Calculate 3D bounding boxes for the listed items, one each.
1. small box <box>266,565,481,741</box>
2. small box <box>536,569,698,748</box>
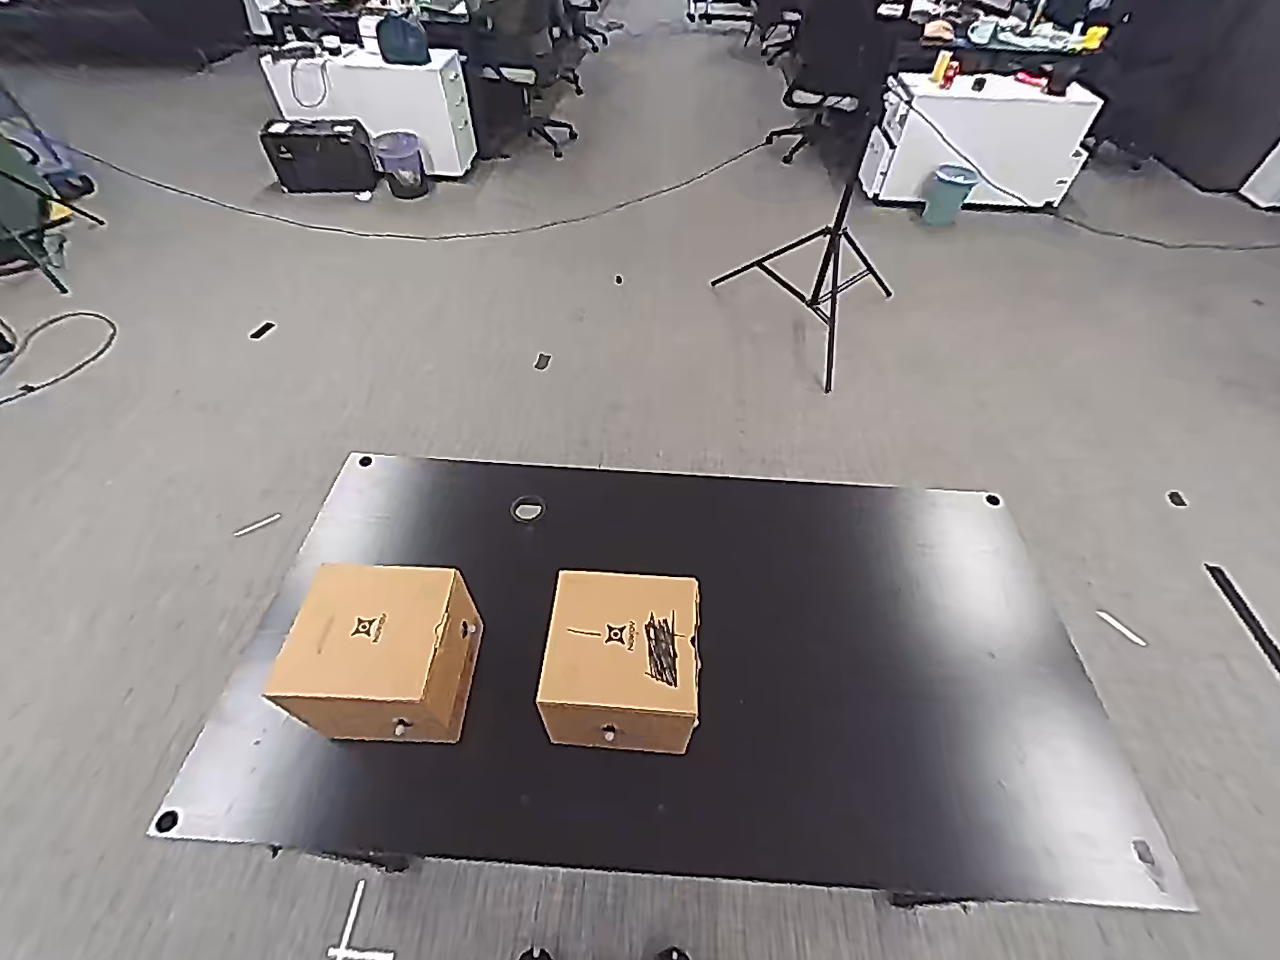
[{"bbox_3d":[-0.317,0.224,0.694,0.179,0.176,0.168,1,49,0],"label":"small box"},{"bbox_3d":[-0.022,0.233,0.693,0.179,0.176,0.168,3,50,3],"label":"small box"}]
